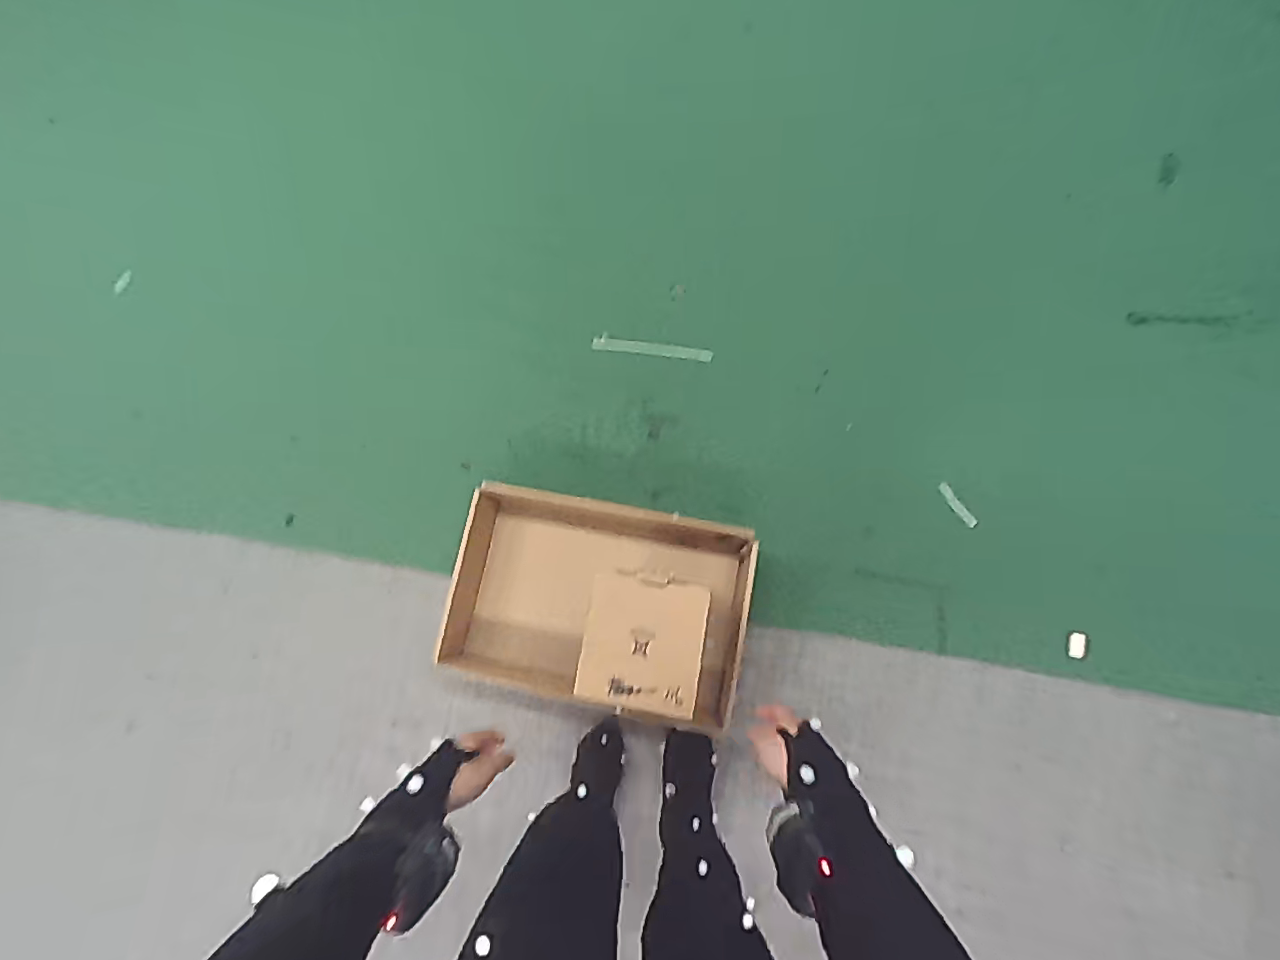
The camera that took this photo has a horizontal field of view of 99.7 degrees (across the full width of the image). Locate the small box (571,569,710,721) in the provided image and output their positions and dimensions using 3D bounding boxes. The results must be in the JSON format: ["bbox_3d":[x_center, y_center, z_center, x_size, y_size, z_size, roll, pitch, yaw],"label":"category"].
[{"bbox_3d":[0.009,0.237,0.807,0.168,0.176,0.179,8,78,8],"label":"small box"}]
